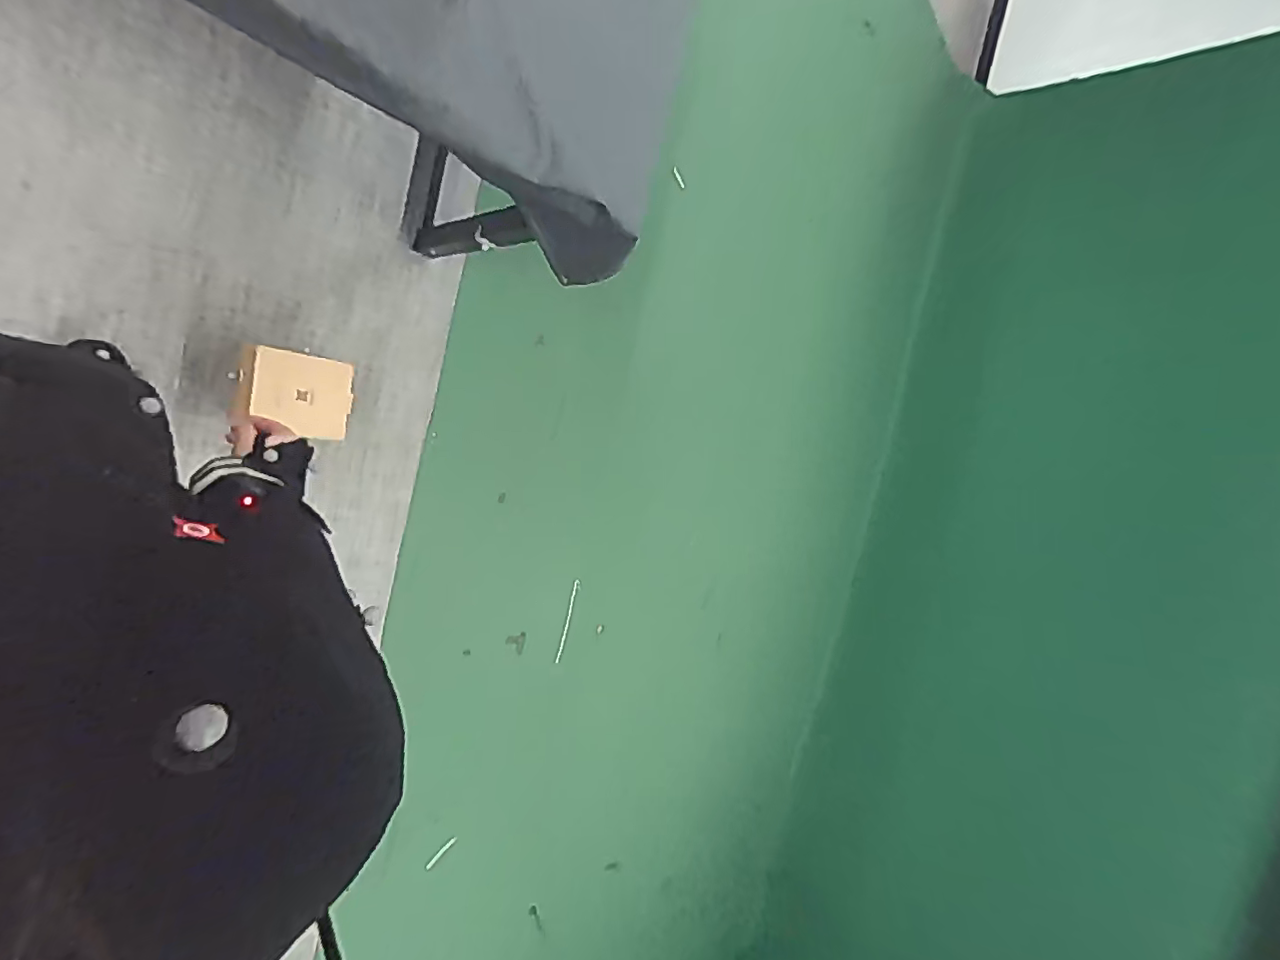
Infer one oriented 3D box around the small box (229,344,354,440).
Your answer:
[{"bbox_3d":[-0.728,-0.186,1.130,0.179,0.176,0.168,4,98,-47],"label":"small box"}]
